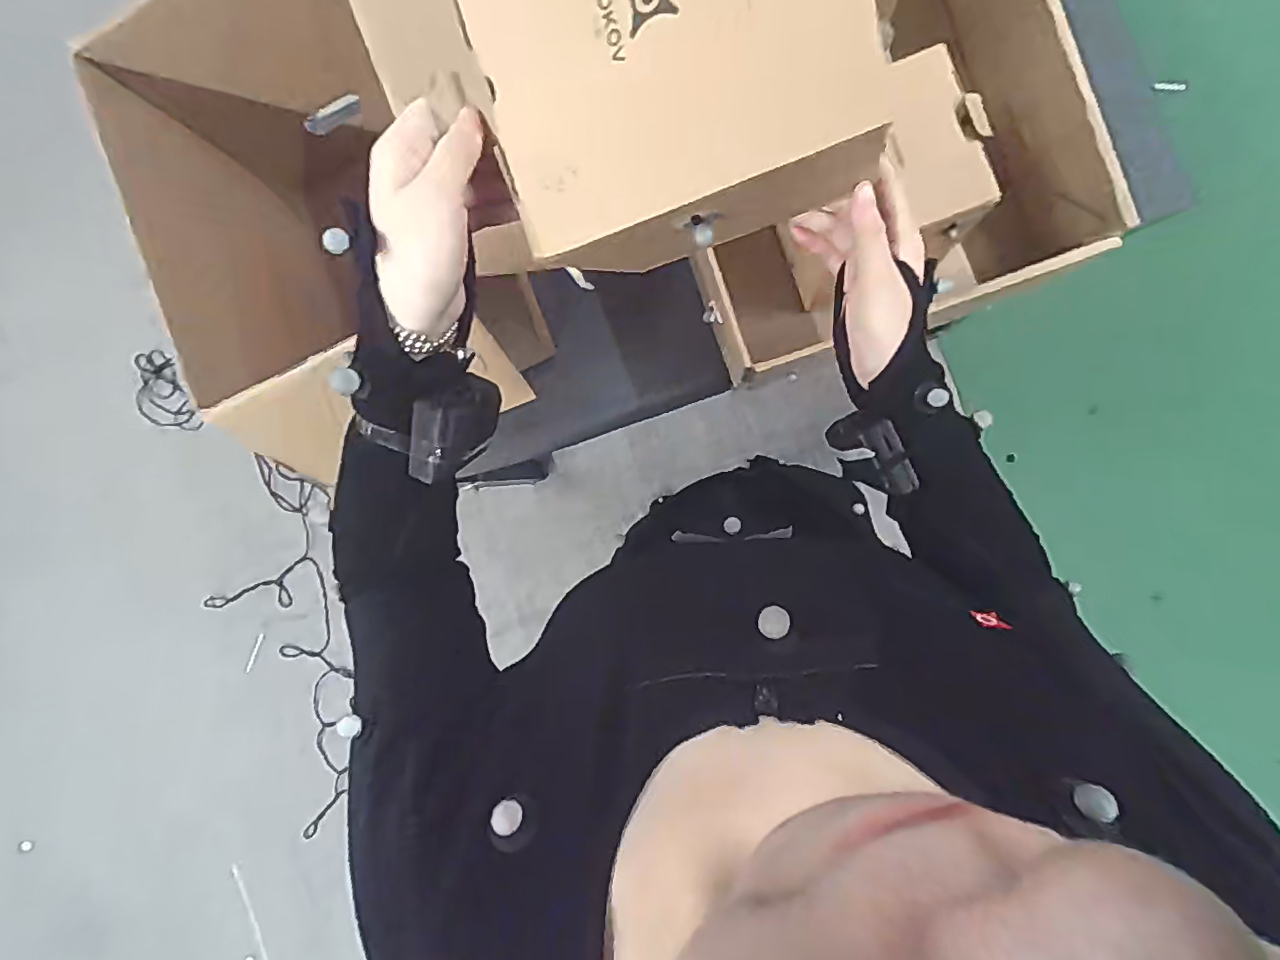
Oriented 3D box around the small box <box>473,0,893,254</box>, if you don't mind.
[{"bbox_3d":[0.033,-0.238,0.309,0.179,0.176,0.168,-10,106,22],"label":"small box"}]
